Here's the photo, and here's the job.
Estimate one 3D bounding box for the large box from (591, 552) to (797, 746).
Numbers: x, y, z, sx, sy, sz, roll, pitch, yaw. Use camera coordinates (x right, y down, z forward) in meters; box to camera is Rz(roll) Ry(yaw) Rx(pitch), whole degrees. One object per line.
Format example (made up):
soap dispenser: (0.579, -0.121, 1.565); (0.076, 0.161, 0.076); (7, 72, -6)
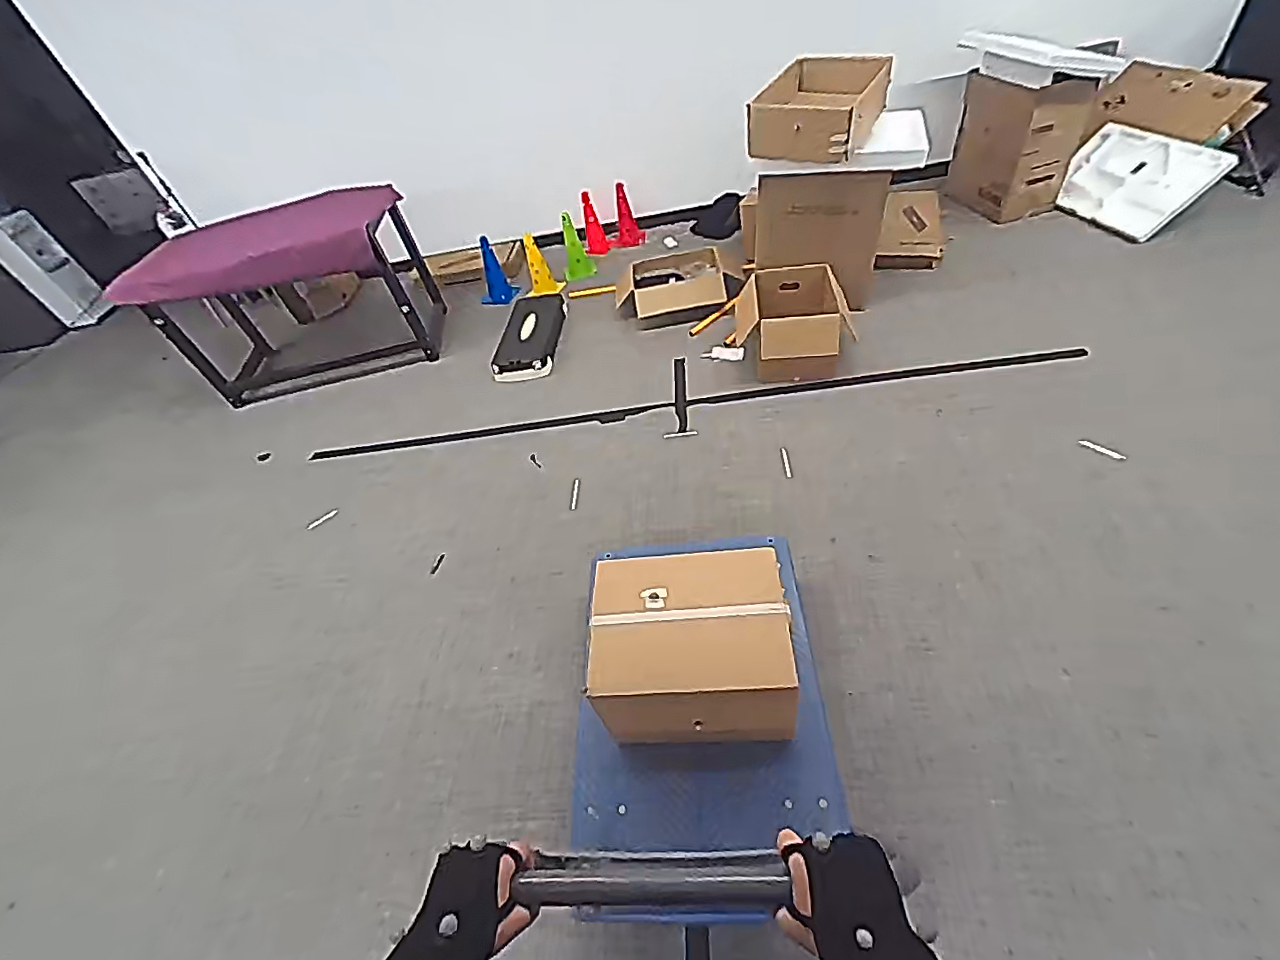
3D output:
large box: (0.127, 0.397, 1.242); (0.408, 0.320, 0.320); (-7, 46, 9)
